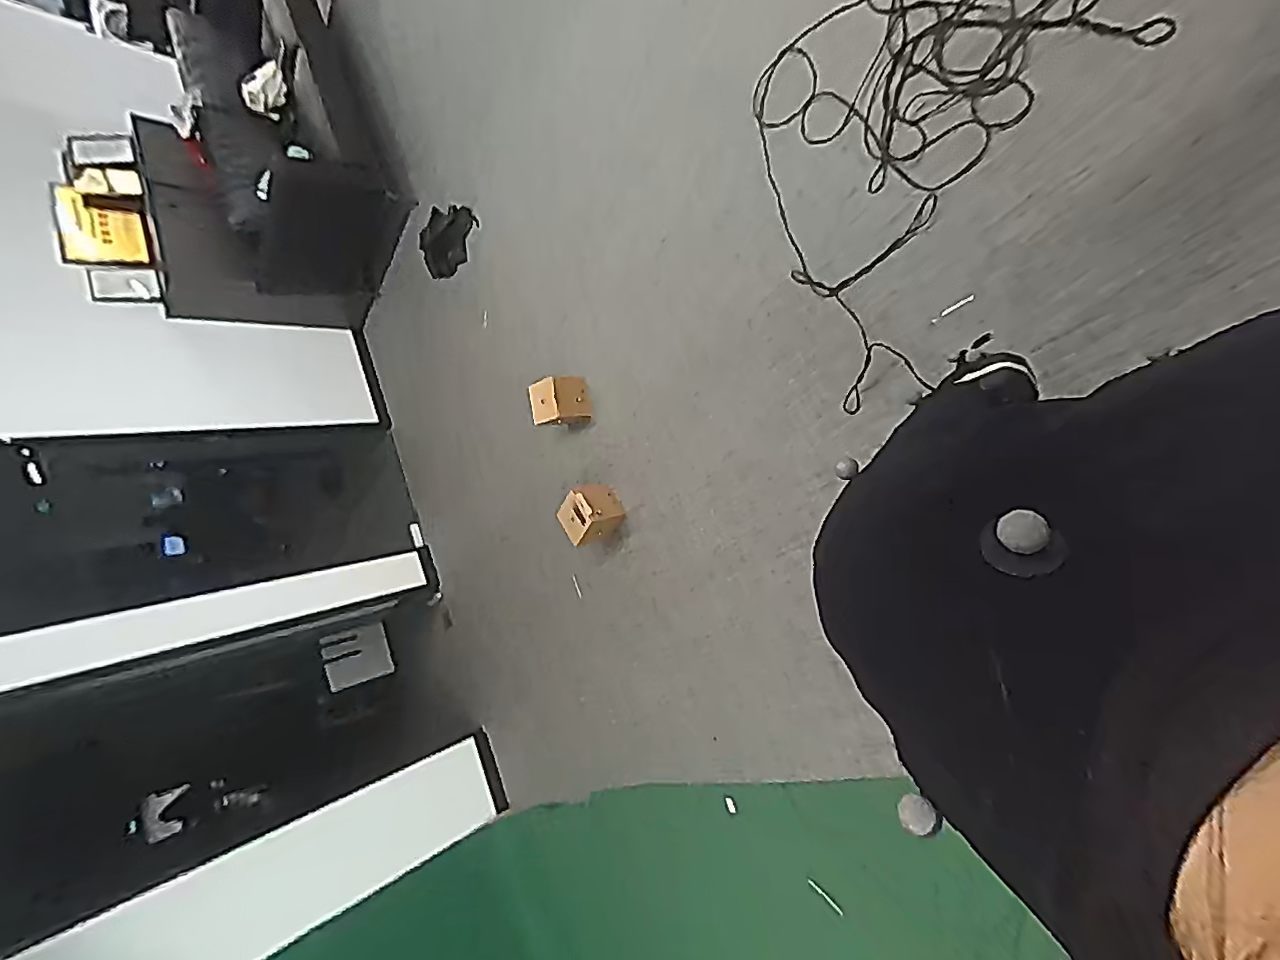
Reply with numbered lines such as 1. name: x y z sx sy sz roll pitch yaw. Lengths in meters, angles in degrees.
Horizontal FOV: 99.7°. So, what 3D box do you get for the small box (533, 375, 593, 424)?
1. small box: -0.314 -0.324 2.212 0.179 0.176 0.168 -10 89 47
